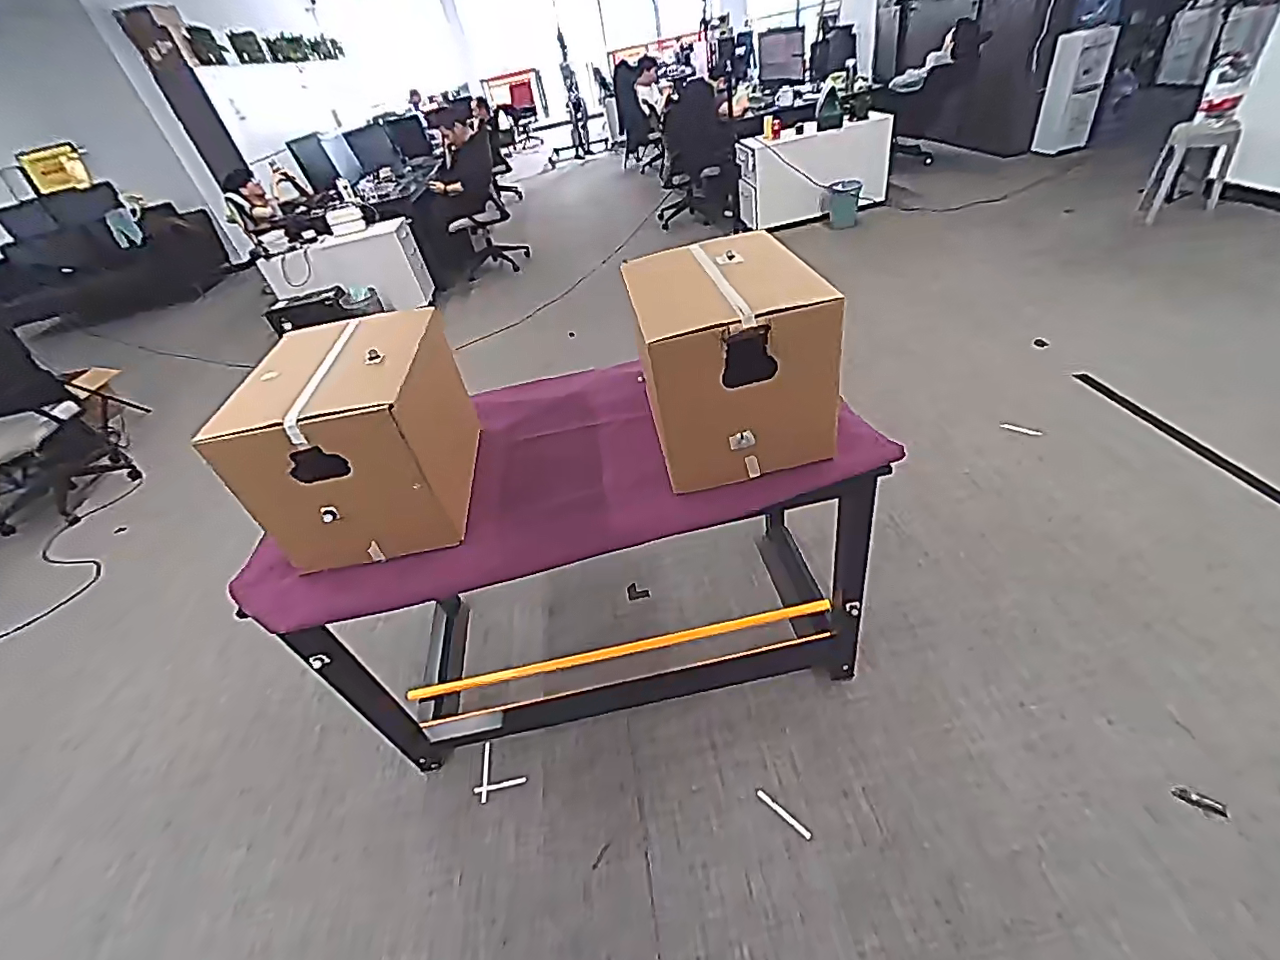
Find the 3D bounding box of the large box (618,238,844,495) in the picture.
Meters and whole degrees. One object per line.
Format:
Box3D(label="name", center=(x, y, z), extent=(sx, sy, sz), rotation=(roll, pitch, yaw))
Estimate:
Box3D(label="large box", center=(0.160, -0.234, 1.055), extent=(0.320, 0.320, 0.408), rotation=(-13, 38, 0))
